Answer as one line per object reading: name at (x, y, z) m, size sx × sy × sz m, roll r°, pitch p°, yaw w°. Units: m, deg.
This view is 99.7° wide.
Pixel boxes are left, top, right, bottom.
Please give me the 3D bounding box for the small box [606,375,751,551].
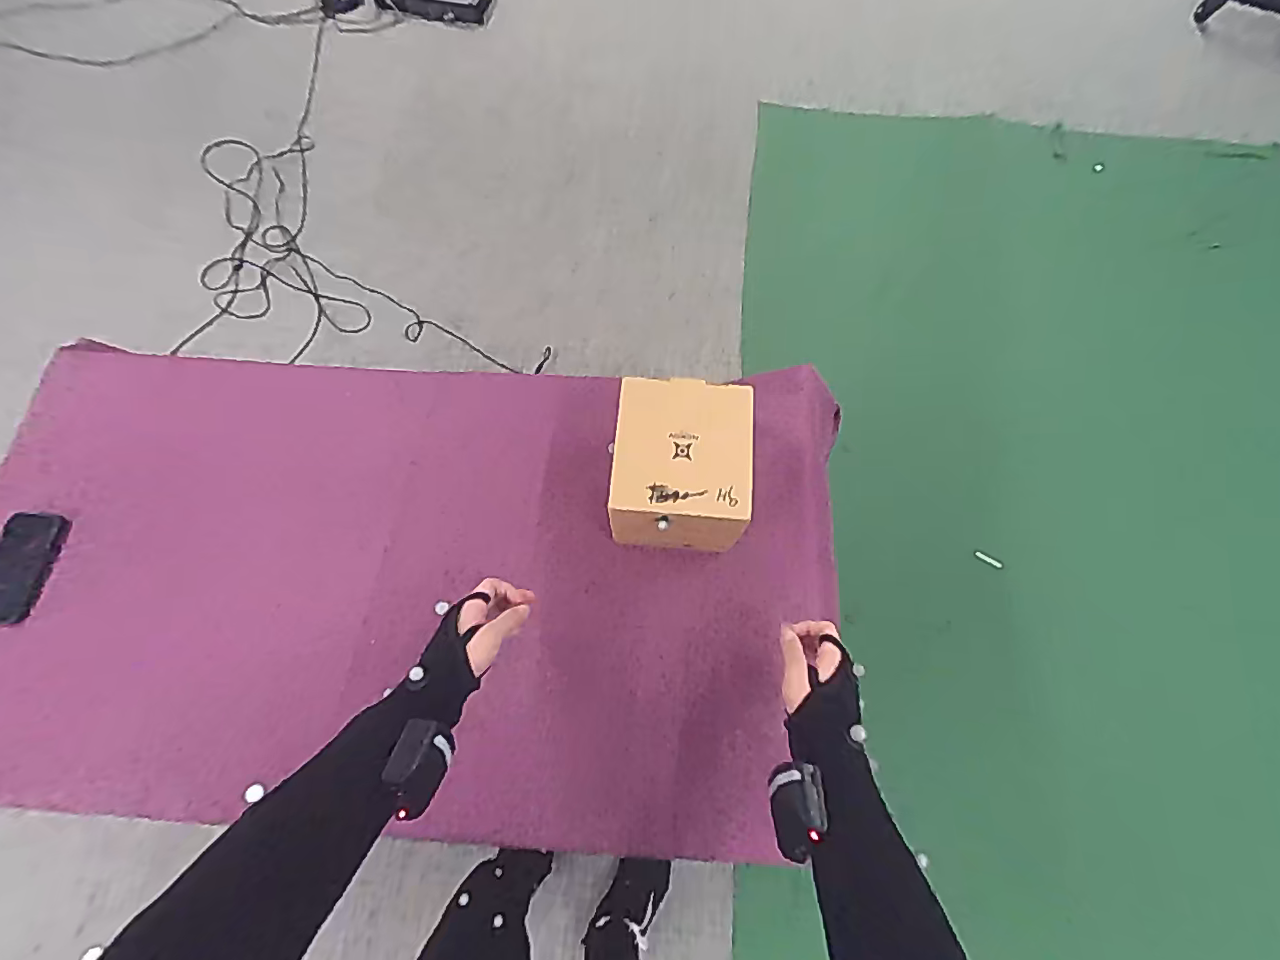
small box at (0.049, -0.016, 0.716) m, size 0.168 × 0.176 × 0.179 m, roll 4°, pitch 70°, yaw 3°
